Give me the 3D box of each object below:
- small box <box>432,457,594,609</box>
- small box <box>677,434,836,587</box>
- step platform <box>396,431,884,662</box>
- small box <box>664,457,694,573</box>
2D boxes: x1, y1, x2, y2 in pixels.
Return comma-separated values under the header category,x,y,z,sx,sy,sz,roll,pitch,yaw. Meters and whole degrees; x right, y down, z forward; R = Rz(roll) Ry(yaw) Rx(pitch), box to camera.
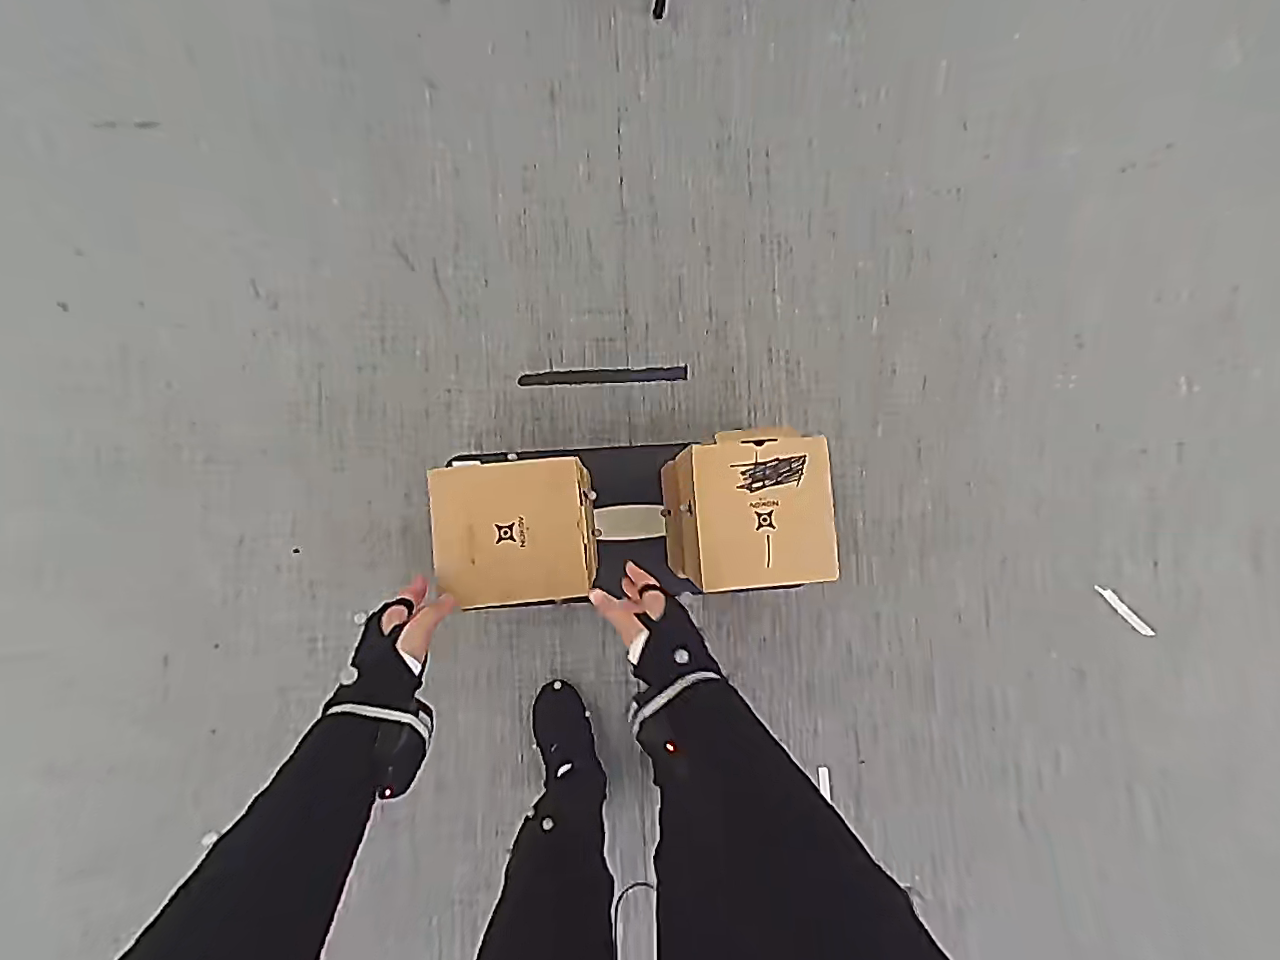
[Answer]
category,x,y,z,sx,sy,sz,roll,pitch,yaw
small box,-0.154,0.064,0.710,0.179,0.176,0.168,-6,87,-3
small box,0.144,0.039,0.725,0.168,0.176,0.179,-5,88,-2
step platform,0.001,0.094,0.845,0.684,0.204,0.286,-4,87,-4
small box,0.128,0.051,0.888,0.168,0.176,0.179,-5,88,-2
